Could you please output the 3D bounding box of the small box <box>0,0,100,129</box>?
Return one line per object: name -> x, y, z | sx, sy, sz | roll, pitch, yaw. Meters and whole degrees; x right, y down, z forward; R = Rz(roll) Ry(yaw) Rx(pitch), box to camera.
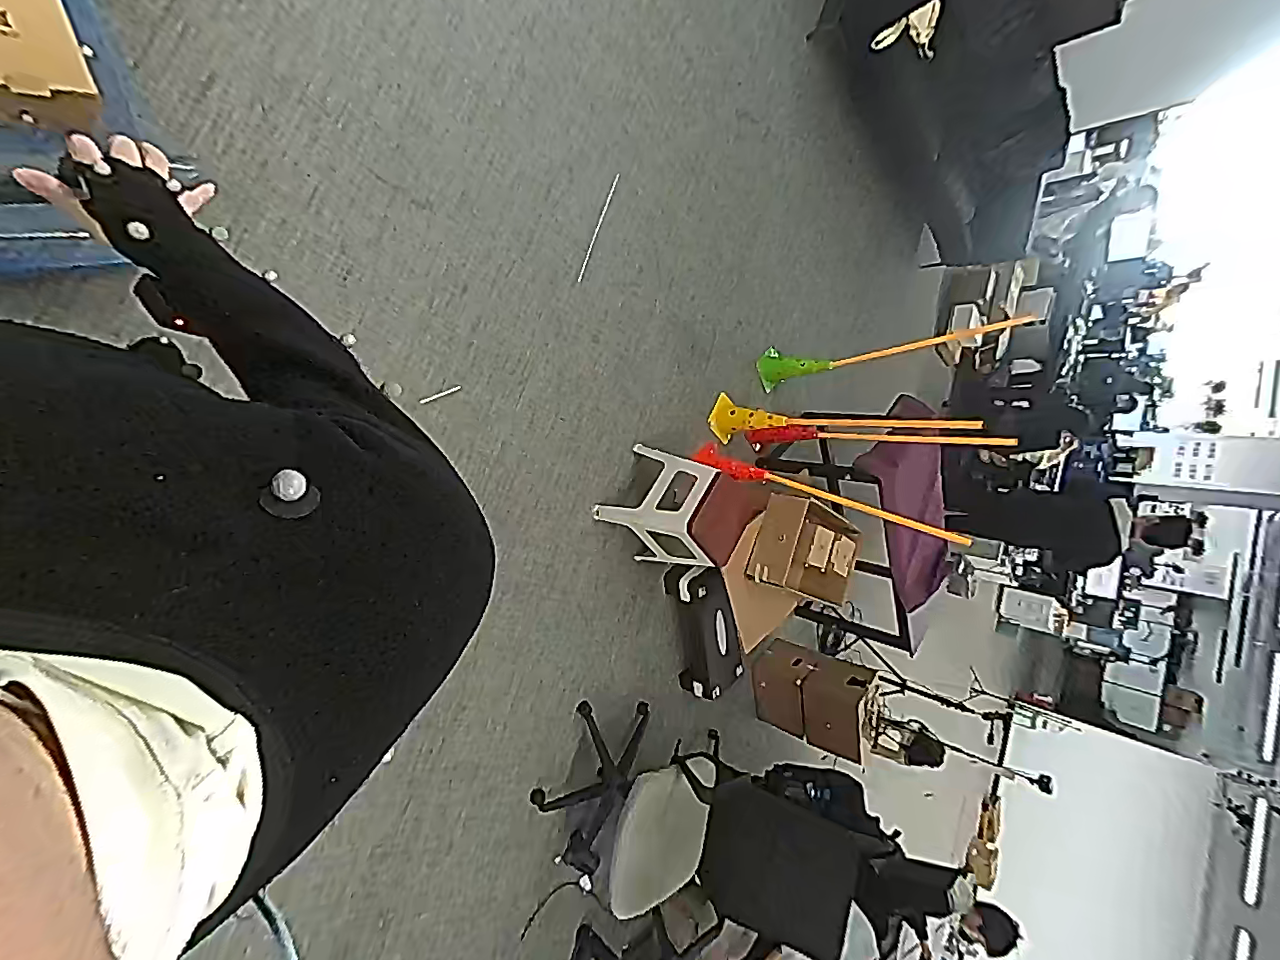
small box -> -1.017, -0.696, 0.868 | 0.168, 0.176, 0.179 | -26, 115, -40
